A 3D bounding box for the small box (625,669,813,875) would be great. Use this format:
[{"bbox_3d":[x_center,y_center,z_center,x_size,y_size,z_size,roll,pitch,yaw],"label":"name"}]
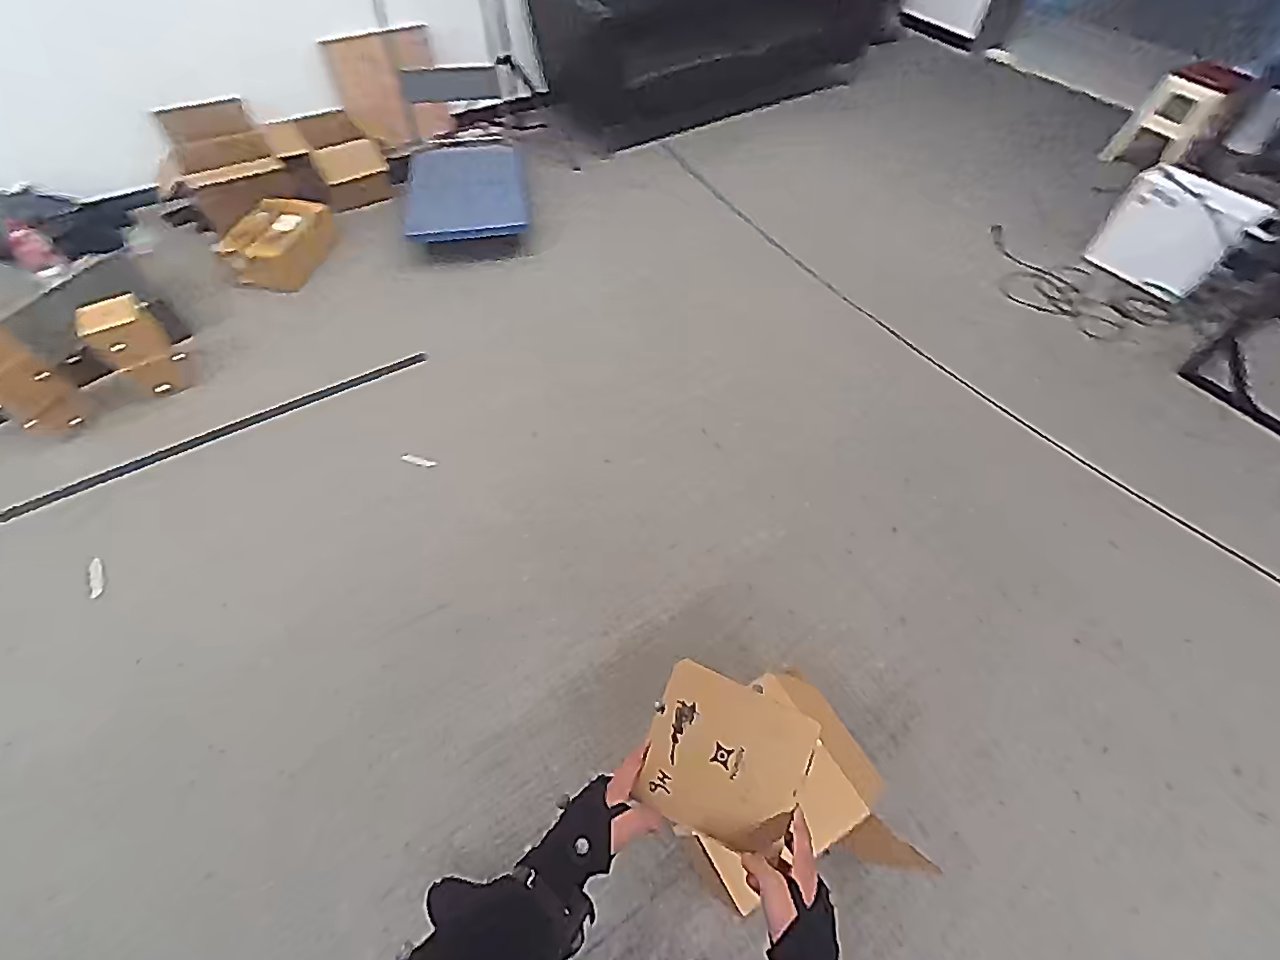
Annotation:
[{"bbox_3d":[0.093,0.358,0.703,0.179,0.176,0.168,23,72,8],"label":"small box"}]
